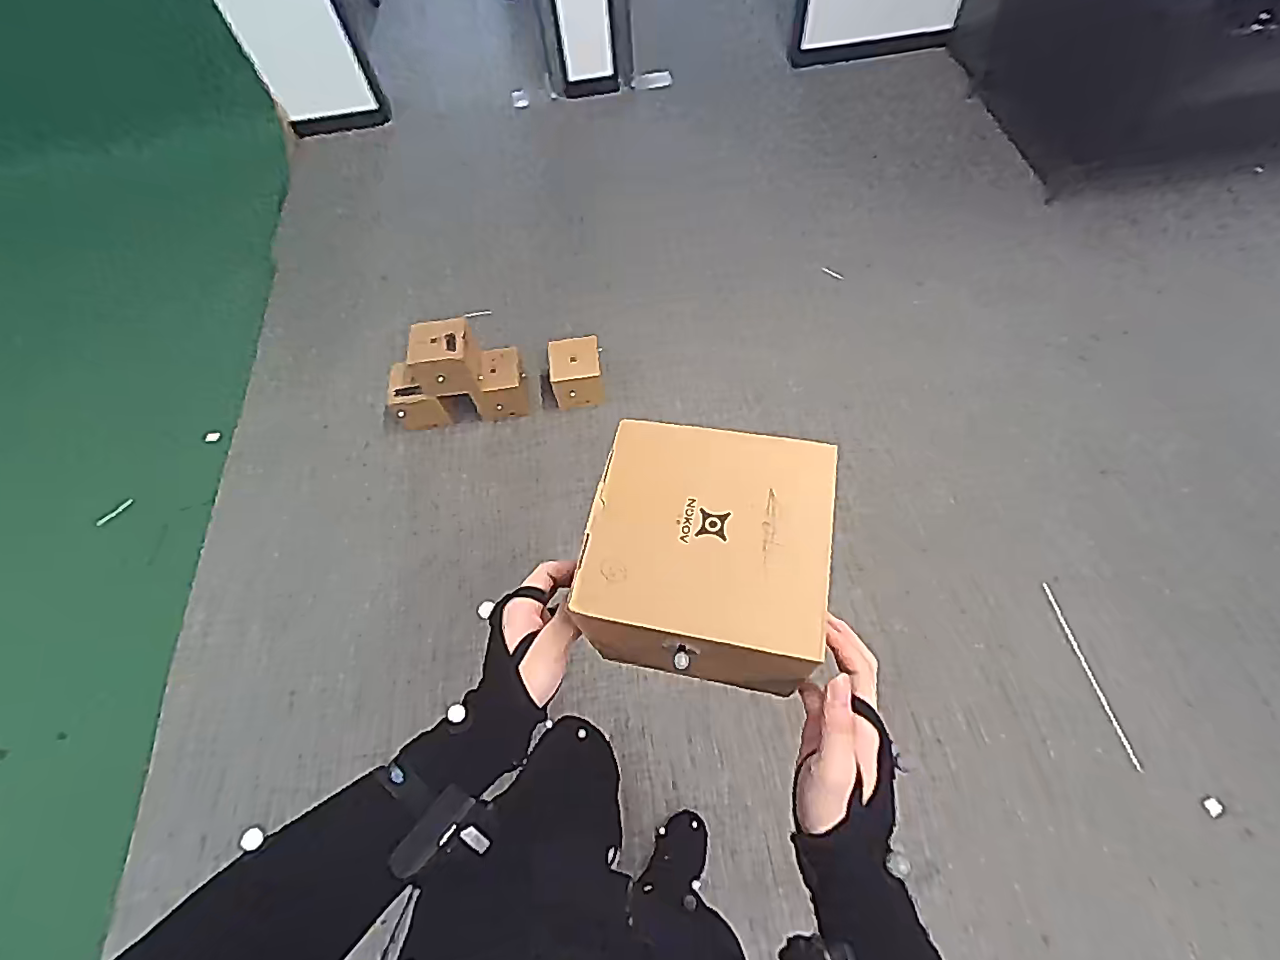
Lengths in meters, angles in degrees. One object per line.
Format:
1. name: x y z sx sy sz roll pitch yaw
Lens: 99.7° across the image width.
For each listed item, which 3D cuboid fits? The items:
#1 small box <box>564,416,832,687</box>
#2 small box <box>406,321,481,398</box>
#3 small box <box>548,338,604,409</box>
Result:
1. small box: 0.055 0.068 0.468 0.179 0.176 0.168 9 61 10
2. small box: -0.618 -0.381 1.724 0.179 0.176 0.168 -7 62 0
3. small box: -0.221 -0.363 1.879 0.168 0.176 0.179 -8 62 -1
